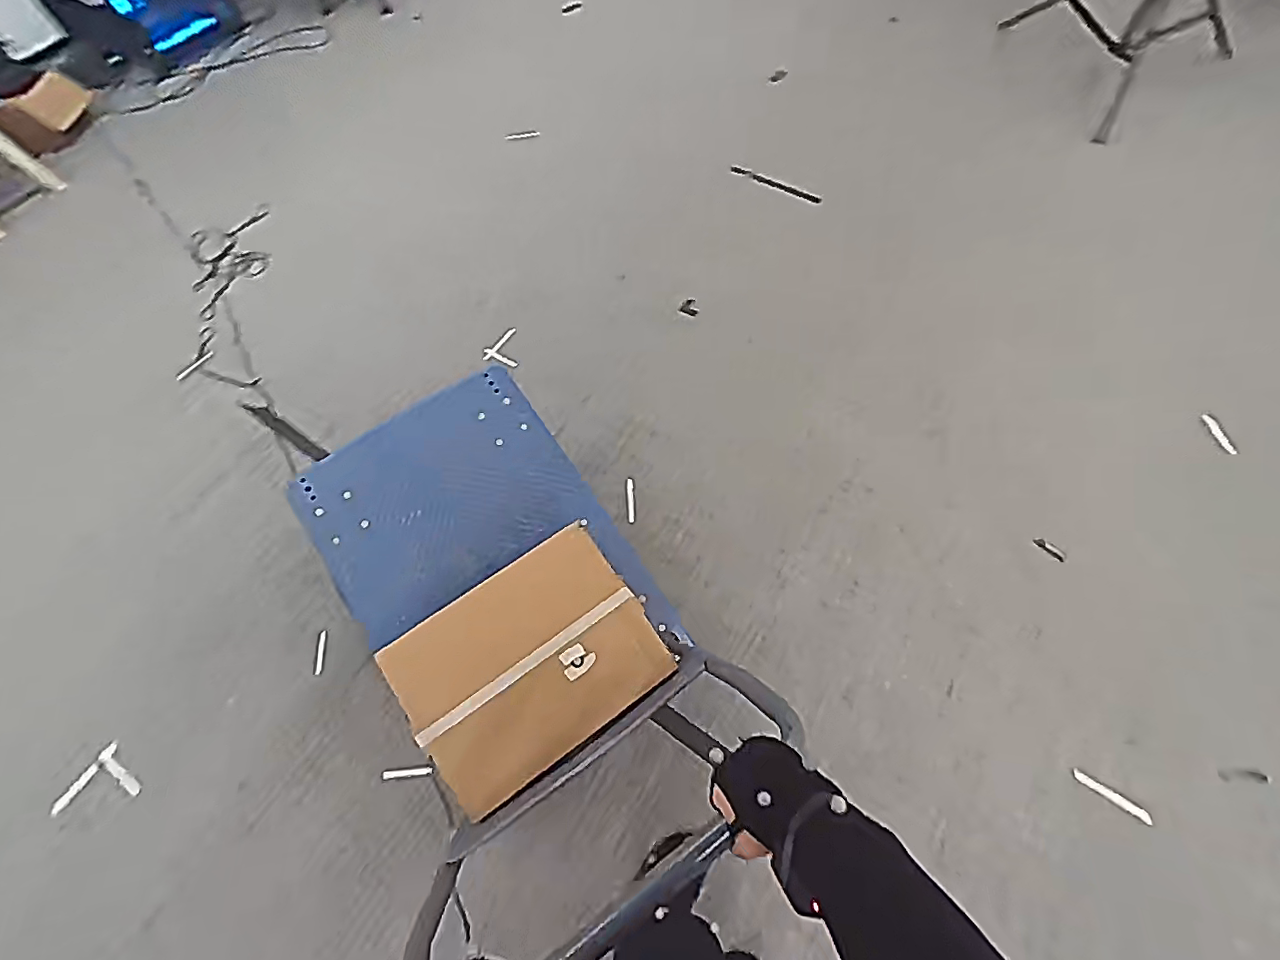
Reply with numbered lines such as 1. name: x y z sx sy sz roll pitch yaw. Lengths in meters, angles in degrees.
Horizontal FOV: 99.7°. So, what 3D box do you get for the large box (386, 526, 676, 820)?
1. large box: -0.197 0.351 1.064 0.408 0.320 0.320 -34 82 -14
